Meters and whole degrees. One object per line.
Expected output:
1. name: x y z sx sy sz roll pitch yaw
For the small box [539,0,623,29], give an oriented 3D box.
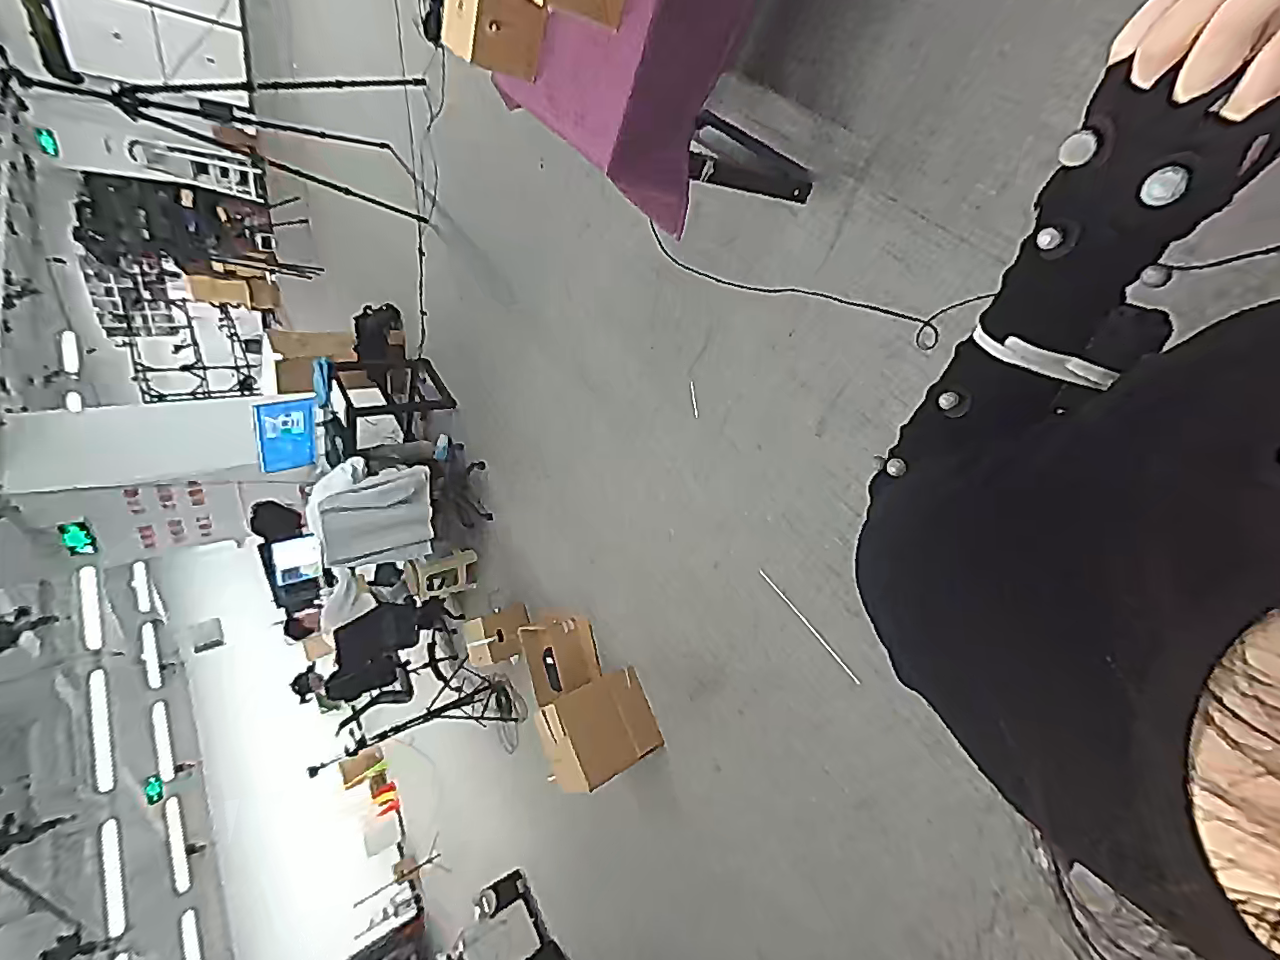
1. small box: -0.121 -0.982 0.997 0.168 0.176 0.179 53 135 27
